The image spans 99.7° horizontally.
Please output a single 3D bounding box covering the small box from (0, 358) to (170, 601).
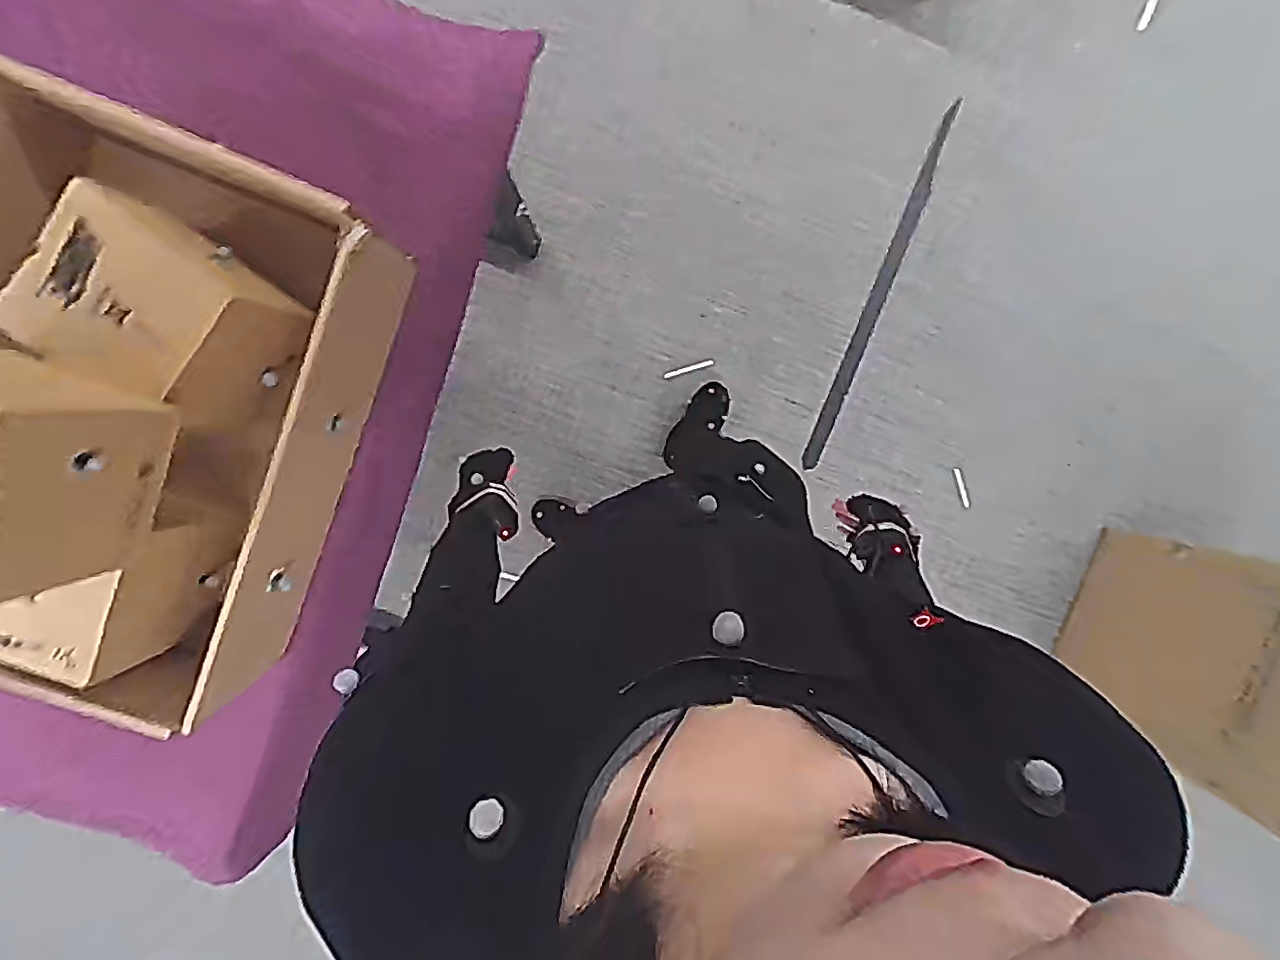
[{"bbox_3d":[-0.554,-0.010,0.448,0.179,0.176,0.168,19,94,-3],"label":"small box"}]
